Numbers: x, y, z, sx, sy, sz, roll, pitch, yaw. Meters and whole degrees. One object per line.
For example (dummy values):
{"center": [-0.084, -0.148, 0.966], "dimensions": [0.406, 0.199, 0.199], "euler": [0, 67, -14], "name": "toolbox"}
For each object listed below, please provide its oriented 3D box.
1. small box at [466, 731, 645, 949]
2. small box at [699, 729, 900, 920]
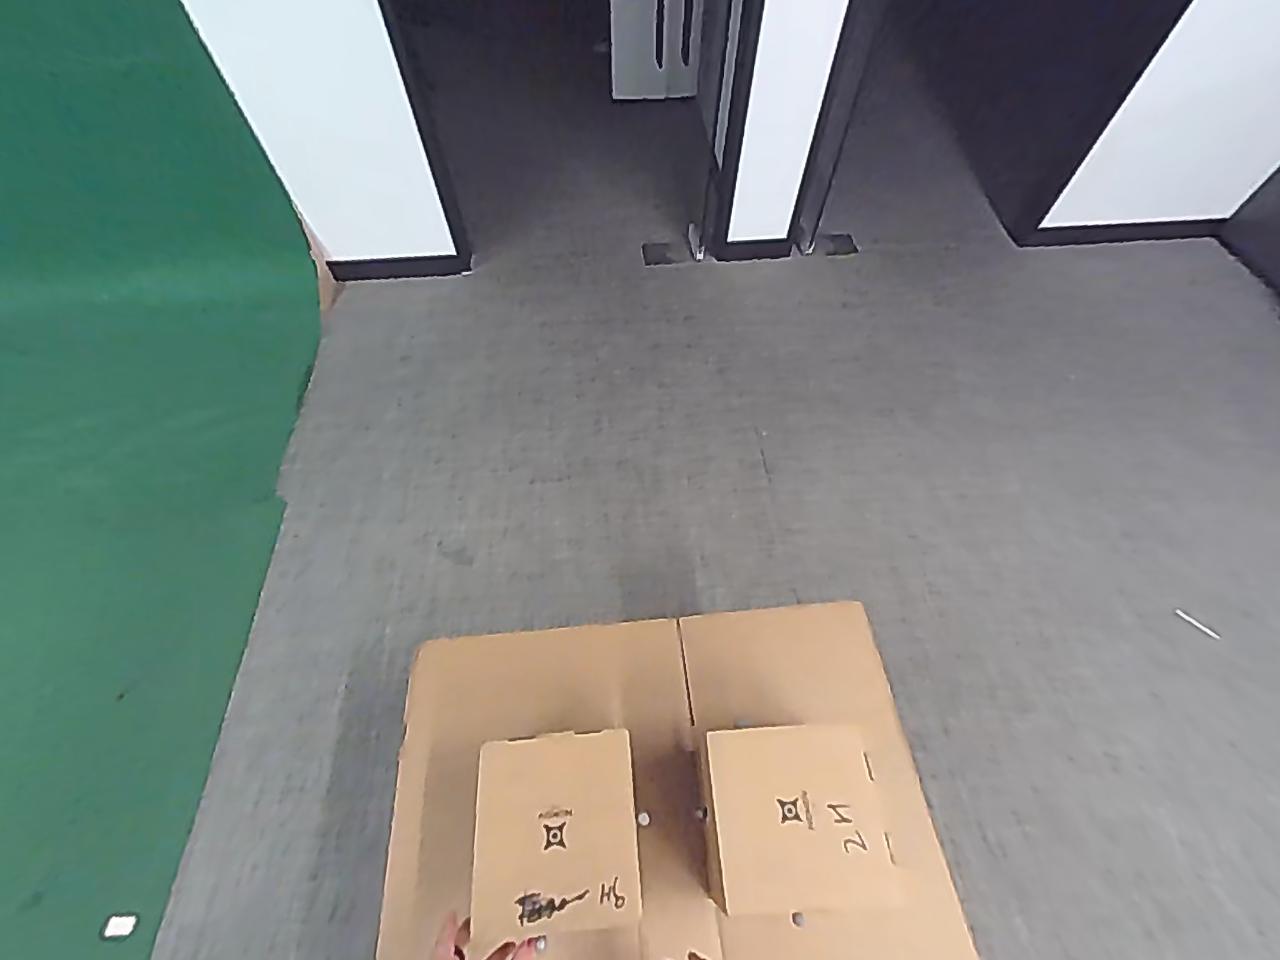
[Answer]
{"center": [-0.085, 0.403, 0.616], "dimensions": [0.168, 0.176, 0.179], "euler": [-6, 55, -1], "name": "small box"}
{"center": [0.162, 0.394, 0.625], "dimensions": [0.179, 0.176, 0.168], "euler": [-3, 57, -1], "name": "small box"}
